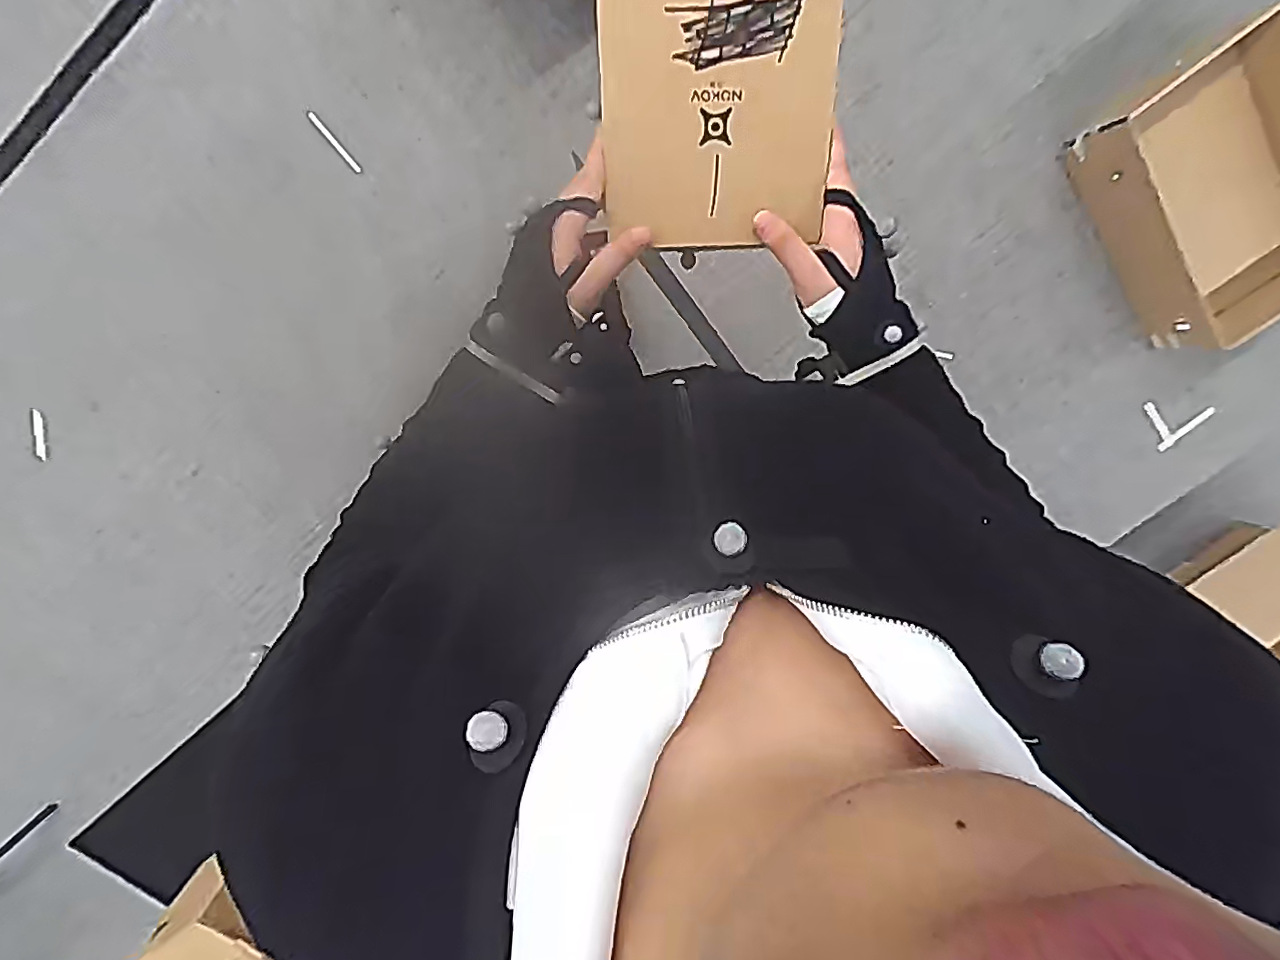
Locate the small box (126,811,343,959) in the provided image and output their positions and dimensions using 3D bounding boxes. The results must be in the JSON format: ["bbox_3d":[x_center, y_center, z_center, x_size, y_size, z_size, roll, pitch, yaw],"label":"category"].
[{"bbox_3d":[-0.599,0.657,0.820,0.179,0.176,0.168,-38,105,8],"label":"small box"}]

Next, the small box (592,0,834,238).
[{"bbox_3d":[0.045,-0.302,0.452,0.168,0.176,0.179,-2,113,-2],"label":"small box"}]

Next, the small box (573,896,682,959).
[{"bbox_3d":[-0.034,0.853,0.902,0.168,0.176,0.179,42,100,-13],"label":"small box"}]
